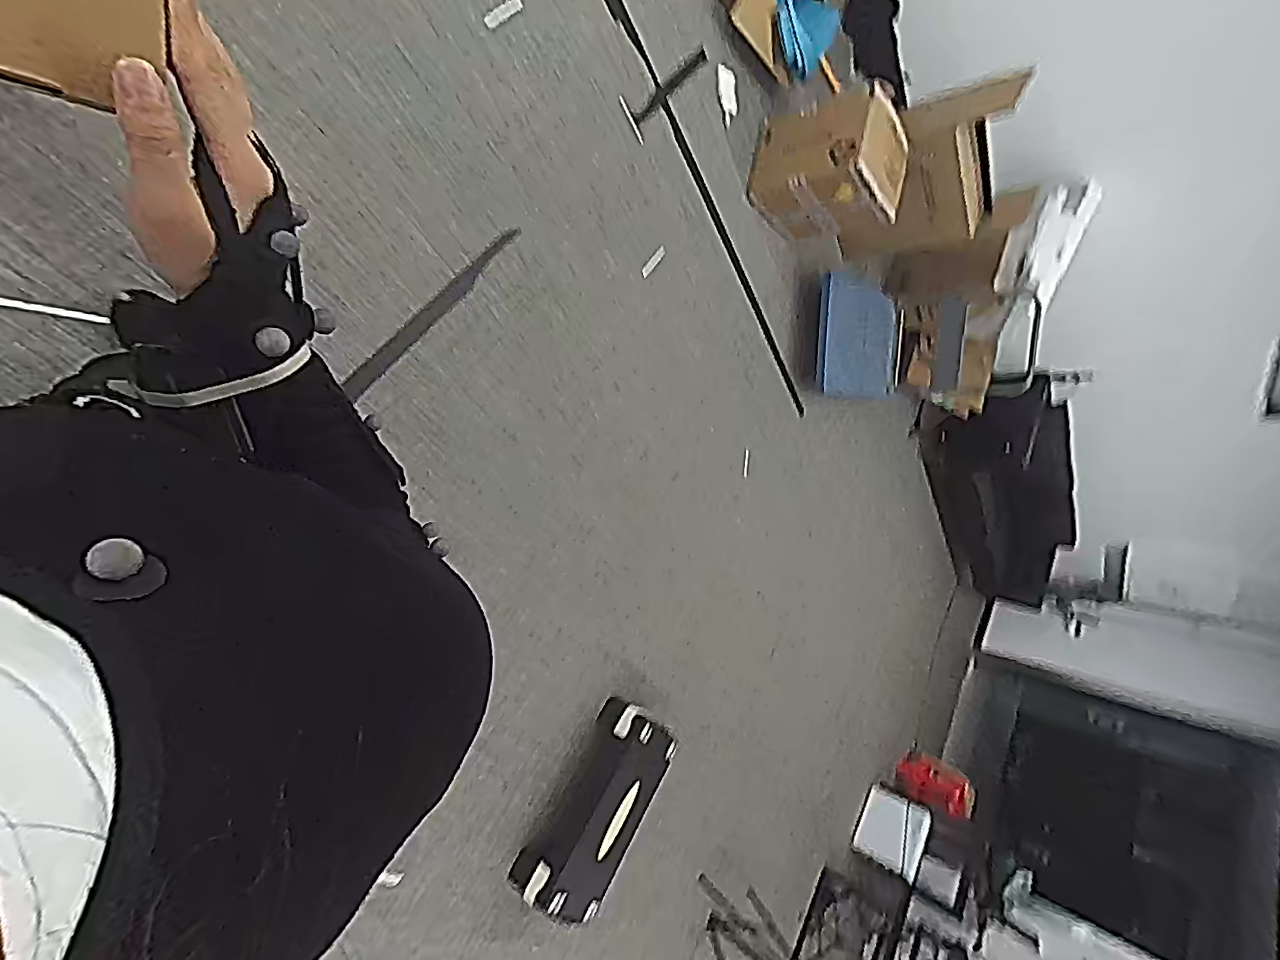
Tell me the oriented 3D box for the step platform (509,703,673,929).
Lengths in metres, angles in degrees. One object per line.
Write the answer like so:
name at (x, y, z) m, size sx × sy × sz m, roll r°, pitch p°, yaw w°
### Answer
step platform at (-0.147, 1.178, 1.930) m, size 0.684 × 0.204 × 0.286 m, roll -58°, pitch 132°, yaw -24°
